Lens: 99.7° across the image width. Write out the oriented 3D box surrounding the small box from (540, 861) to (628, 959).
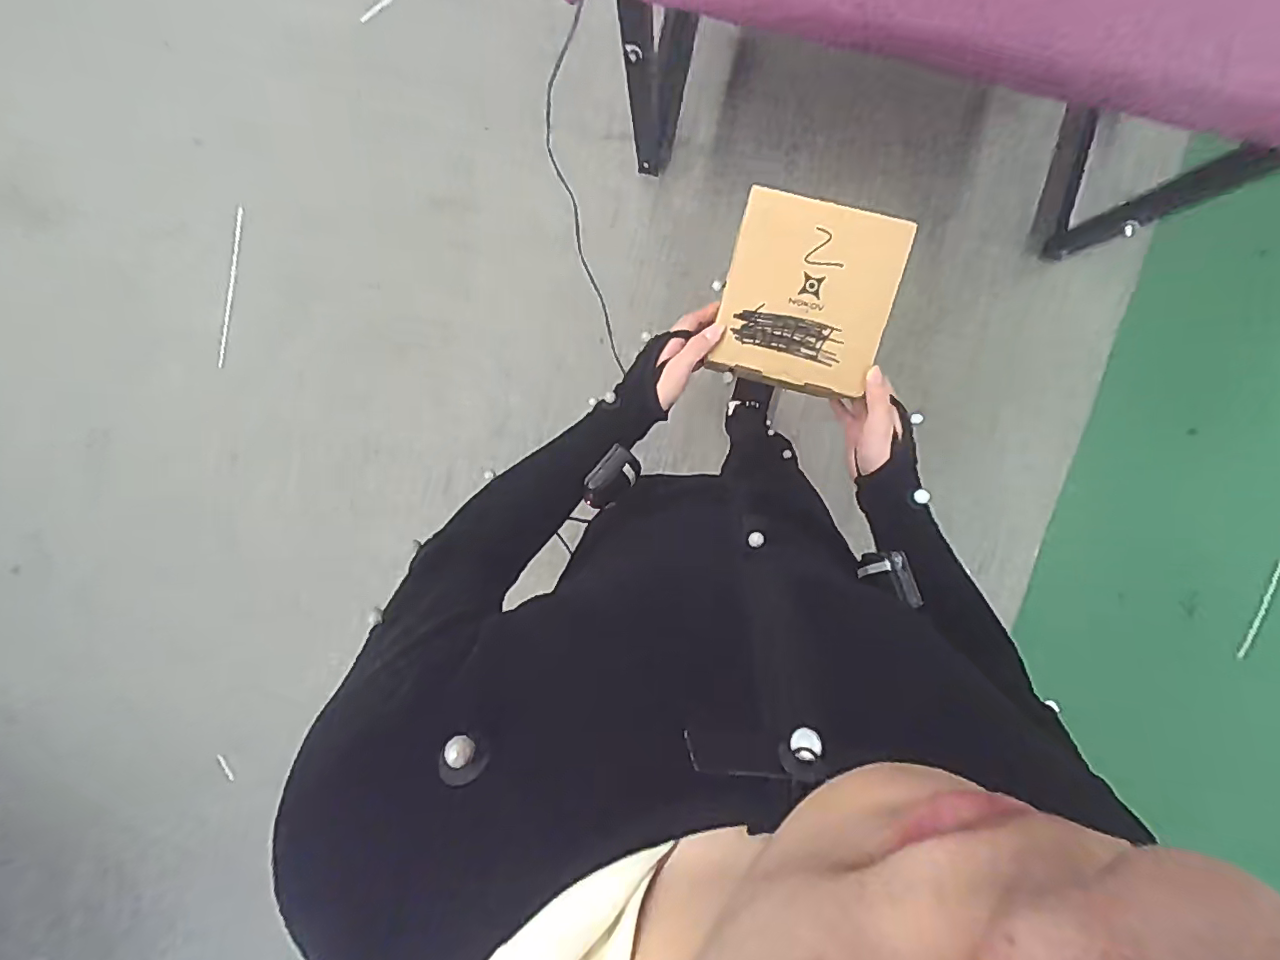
[{"bbox_3d":[-0.127,1.023,1.234,0.168,0.176,0.179,15,98,1],"label":"small box"}]
